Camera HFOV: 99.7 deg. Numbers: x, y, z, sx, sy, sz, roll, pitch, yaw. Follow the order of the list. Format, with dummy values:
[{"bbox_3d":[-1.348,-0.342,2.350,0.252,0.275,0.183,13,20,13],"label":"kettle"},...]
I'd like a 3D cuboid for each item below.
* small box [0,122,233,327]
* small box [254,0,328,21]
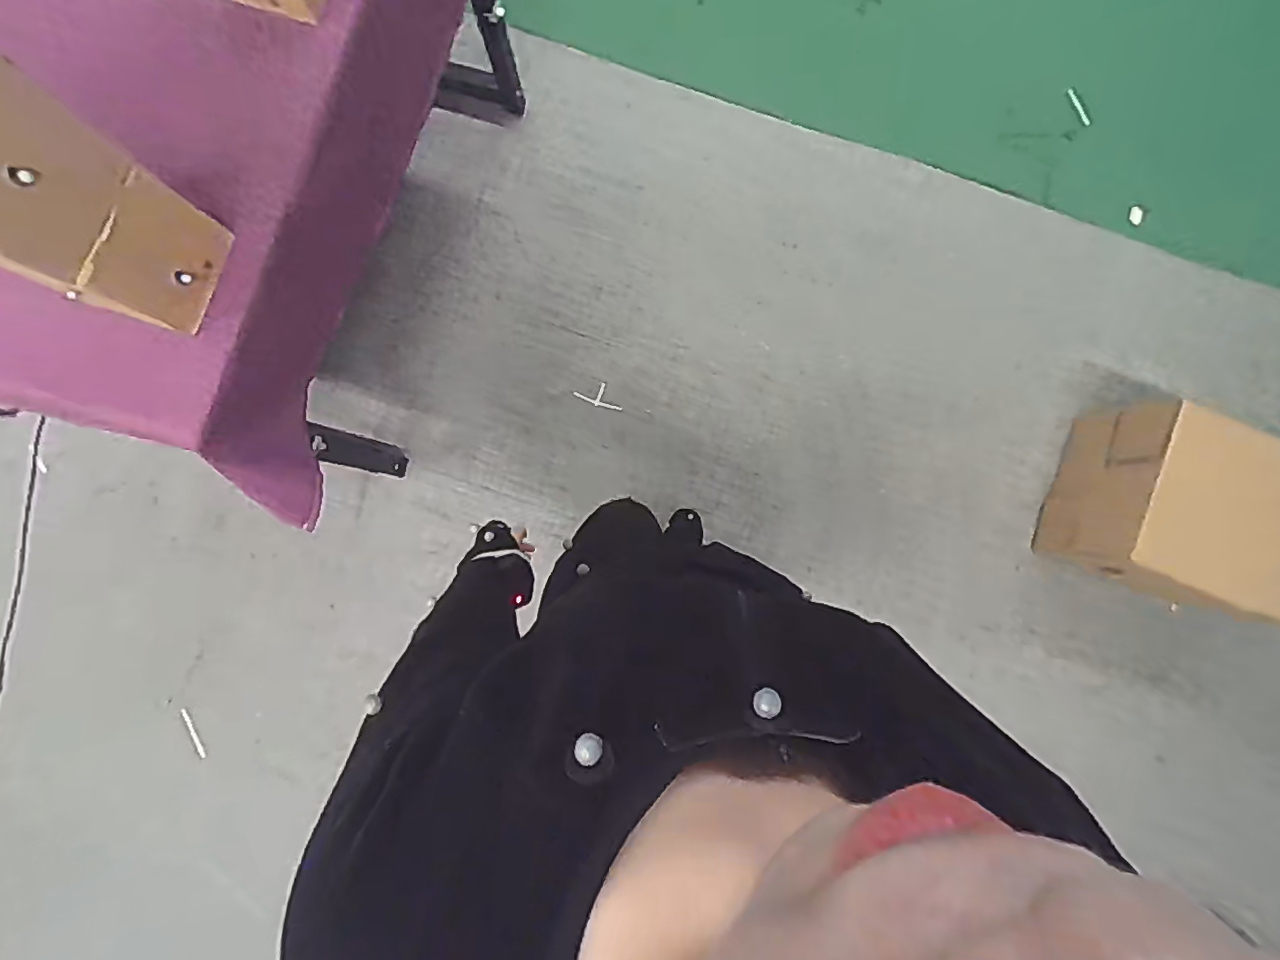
[{"bbox_3d":[-0.714,-0.328,0.729,0.179,0.176,0.168,18,85,1],"label":"small box"},{"bbox_3d":[-0.550,-0.821,0.773,0.168,0.176,0.179,18,85,1],"label":"small box"}]
